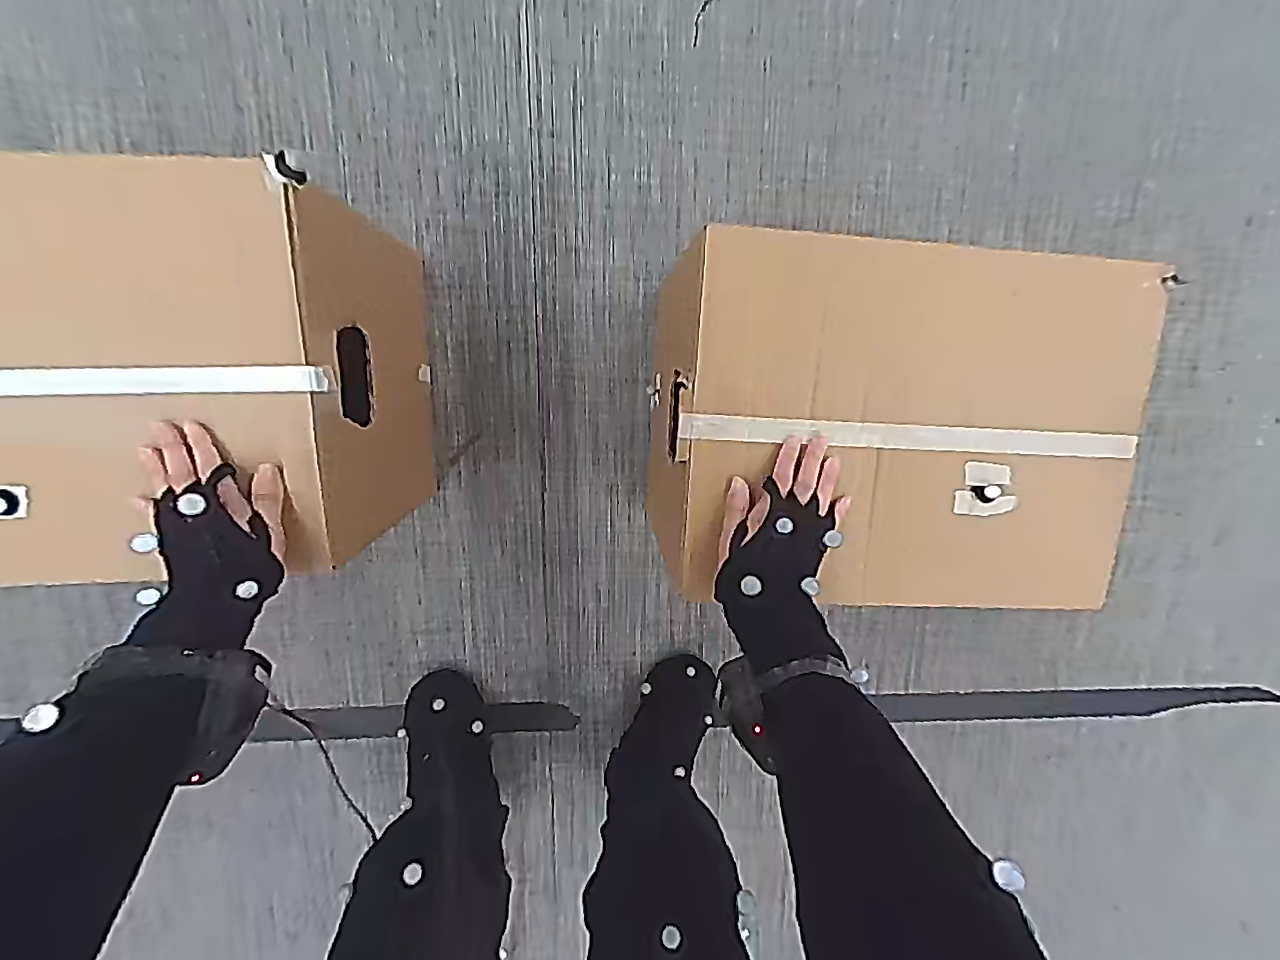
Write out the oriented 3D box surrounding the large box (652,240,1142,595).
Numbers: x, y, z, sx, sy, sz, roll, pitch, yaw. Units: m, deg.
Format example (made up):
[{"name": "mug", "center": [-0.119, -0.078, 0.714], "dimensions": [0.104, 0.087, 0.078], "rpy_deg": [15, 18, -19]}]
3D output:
[{"name": "large box", "center": [0.231, -0.068, 0.633], "dimensions": [0.408, 0.320, 0.320], "rpy_deg": [2, 101, -6]}]
